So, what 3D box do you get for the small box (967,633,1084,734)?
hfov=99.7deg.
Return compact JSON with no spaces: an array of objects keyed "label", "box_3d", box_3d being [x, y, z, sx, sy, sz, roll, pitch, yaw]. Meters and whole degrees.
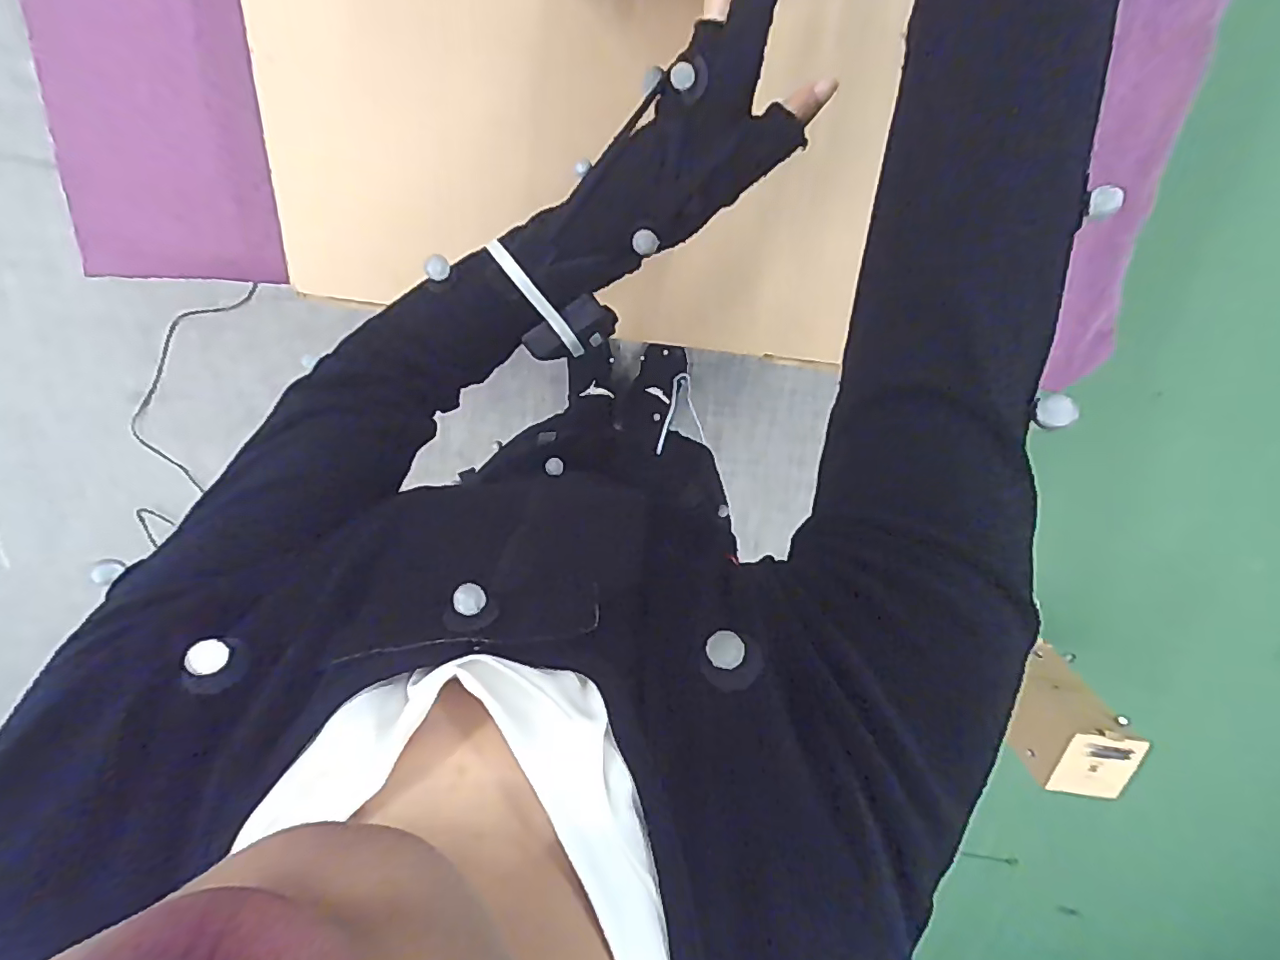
[{"label":"small box","box_3d":[1.013,0.538,1.441,0.168,0.176,0.179,8,111,-1]}]
